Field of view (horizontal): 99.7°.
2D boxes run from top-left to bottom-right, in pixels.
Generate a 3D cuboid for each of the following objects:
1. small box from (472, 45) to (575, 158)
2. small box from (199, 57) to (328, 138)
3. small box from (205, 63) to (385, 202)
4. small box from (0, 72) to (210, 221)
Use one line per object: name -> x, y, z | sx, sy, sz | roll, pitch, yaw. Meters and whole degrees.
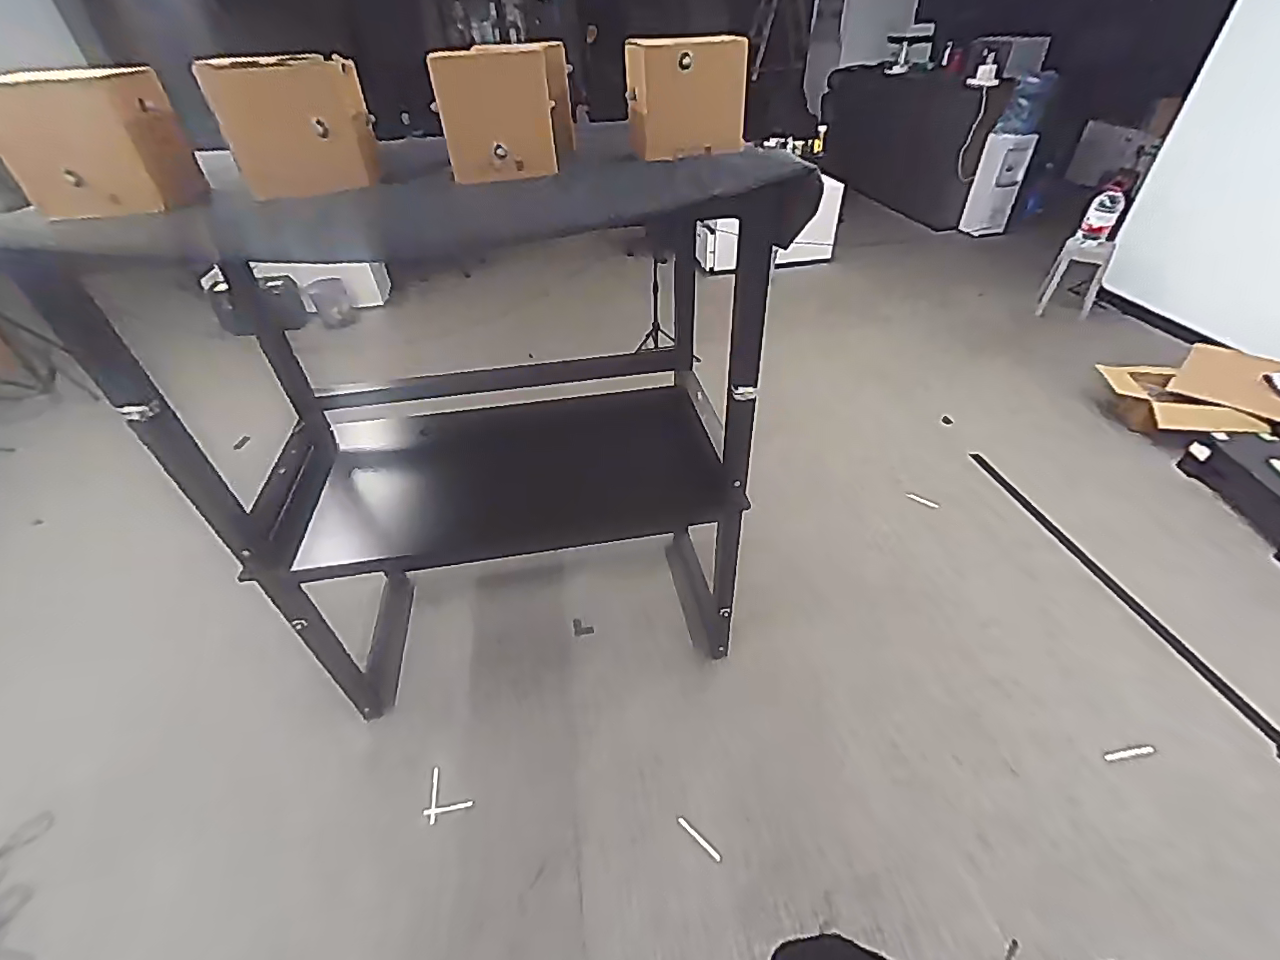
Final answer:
small box -> -0.221, -0.744, 1.064 | 0.168, 0.176, 0.179 | -7, 40, -5
small box -> -0.661, -0.679, 1.016 | 0.168, 0.176, 0.179 | -8, 40, -6
small box -> -0.523, -0.551, 0.856 | 0.179, 0.176, 0.168 | -8, 38, -10
small box -> -0.799, -0.503, 0.814 | 0.168, 0.176, 0.179 | -10, 41, -9
